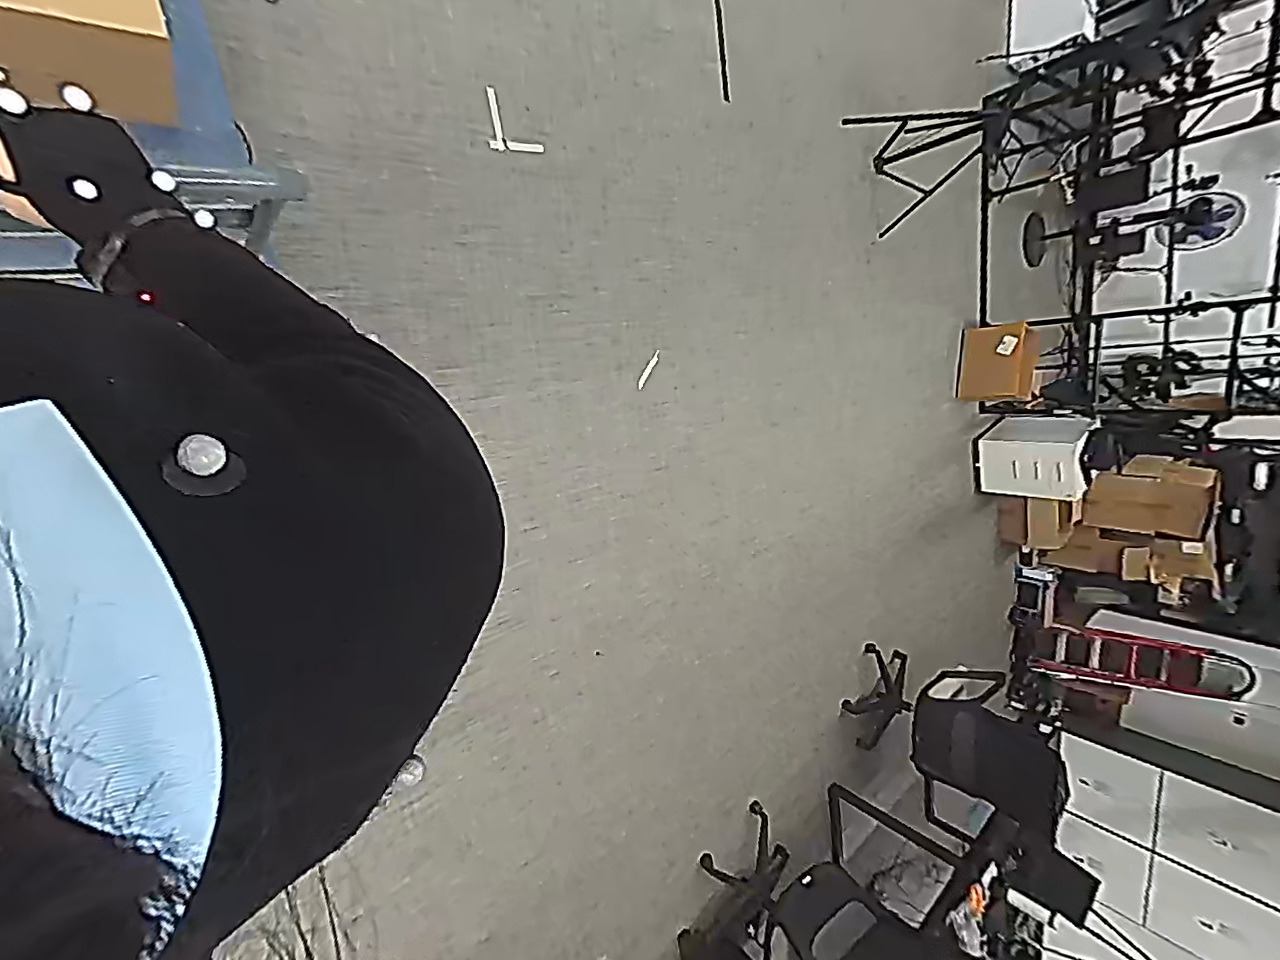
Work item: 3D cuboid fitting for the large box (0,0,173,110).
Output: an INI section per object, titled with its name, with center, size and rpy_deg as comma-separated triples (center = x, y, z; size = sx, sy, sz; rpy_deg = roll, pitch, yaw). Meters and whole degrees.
[large box]
center = -0.914, -0.734, 0.699
size = 0.408, 0.320, 0.320
rpy_deg = -17, 106, -35
